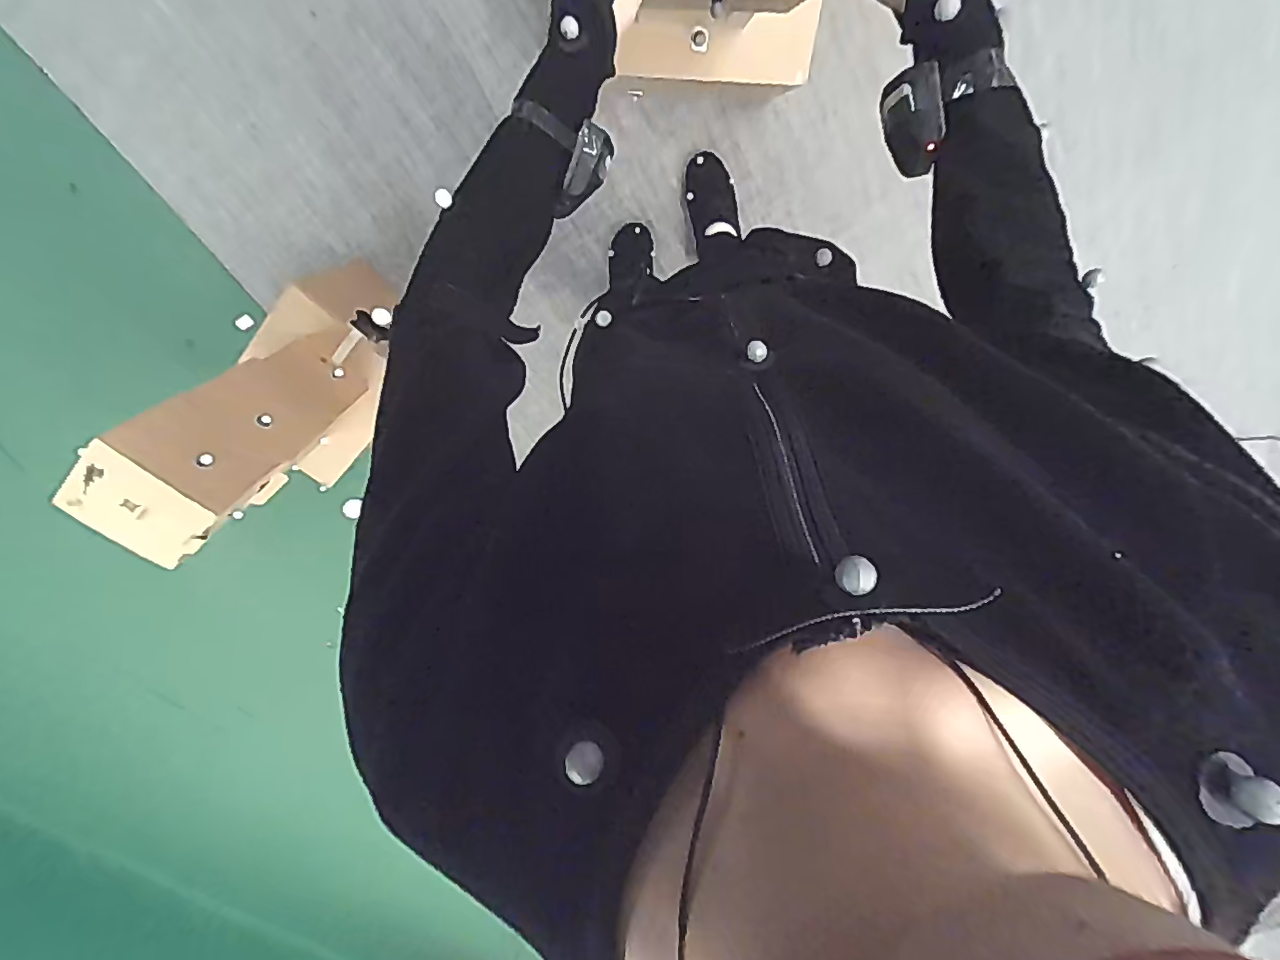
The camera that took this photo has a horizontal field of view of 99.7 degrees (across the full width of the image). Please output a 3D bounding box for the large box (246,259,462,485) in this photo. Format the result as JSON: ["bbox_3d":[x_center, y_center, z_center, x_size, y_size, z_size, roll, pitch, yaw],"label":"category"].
[{"bbox_3d":[-0.722,-0.274,1.358,0.320,0.320,0.408,42,115,-19],"label":"large box"}]

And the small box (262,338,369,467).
[{"bbox_3d":[-0.712,-0.166,1.137,0.179,0.176,0.168,-37,114,21],"label":"small box"}]

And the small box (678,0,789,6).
[{"bbox_3d":[0.080,-0.522,0.450,0.168,0.176,0.179,0,123,-2],"label":"small box"}]

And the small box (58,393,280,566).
[{"bbox_3d":[-0.722,-0.005,0.851,0.168,0.176,0.179,-36,115,21],"label":"small box"}]

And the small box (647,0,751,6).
[{"bbox_3d":[0.085,-0.668,0.617,0.179,0.176,0.168,1,121,0],"label":"small box"}]

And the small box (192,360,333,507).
[{"bbox_3d":[-0.712,-0.090,0.992,0.168,0.176,0.179,-35,114,20],"label":"small box"}]
